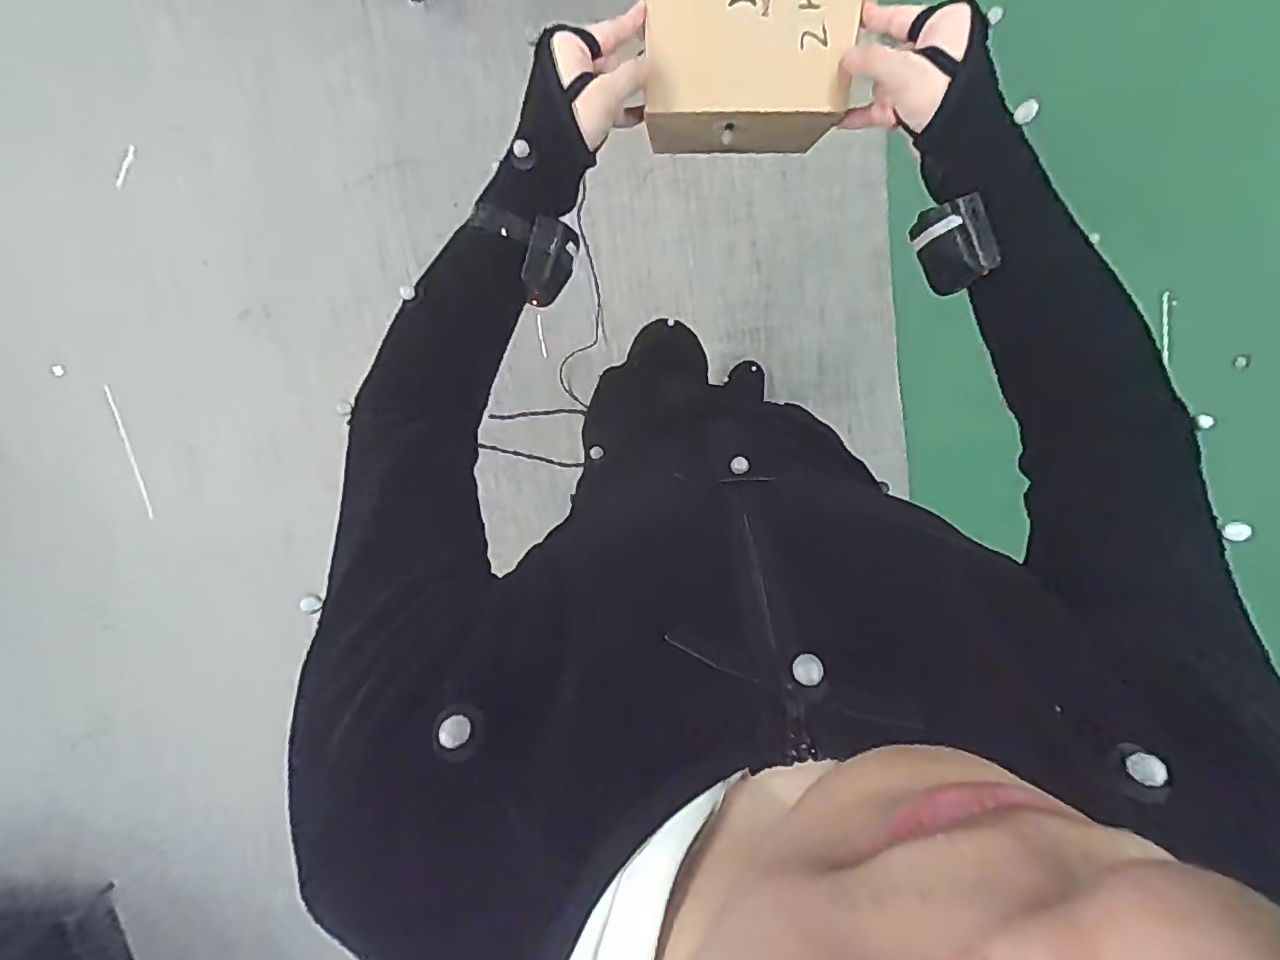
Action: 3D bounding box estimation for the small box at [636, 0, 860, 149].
[{"bbox_3d":[0.091,-0.415,0.496,0.179,0.176,0.168,2,111,3],"label":"small box"}]
